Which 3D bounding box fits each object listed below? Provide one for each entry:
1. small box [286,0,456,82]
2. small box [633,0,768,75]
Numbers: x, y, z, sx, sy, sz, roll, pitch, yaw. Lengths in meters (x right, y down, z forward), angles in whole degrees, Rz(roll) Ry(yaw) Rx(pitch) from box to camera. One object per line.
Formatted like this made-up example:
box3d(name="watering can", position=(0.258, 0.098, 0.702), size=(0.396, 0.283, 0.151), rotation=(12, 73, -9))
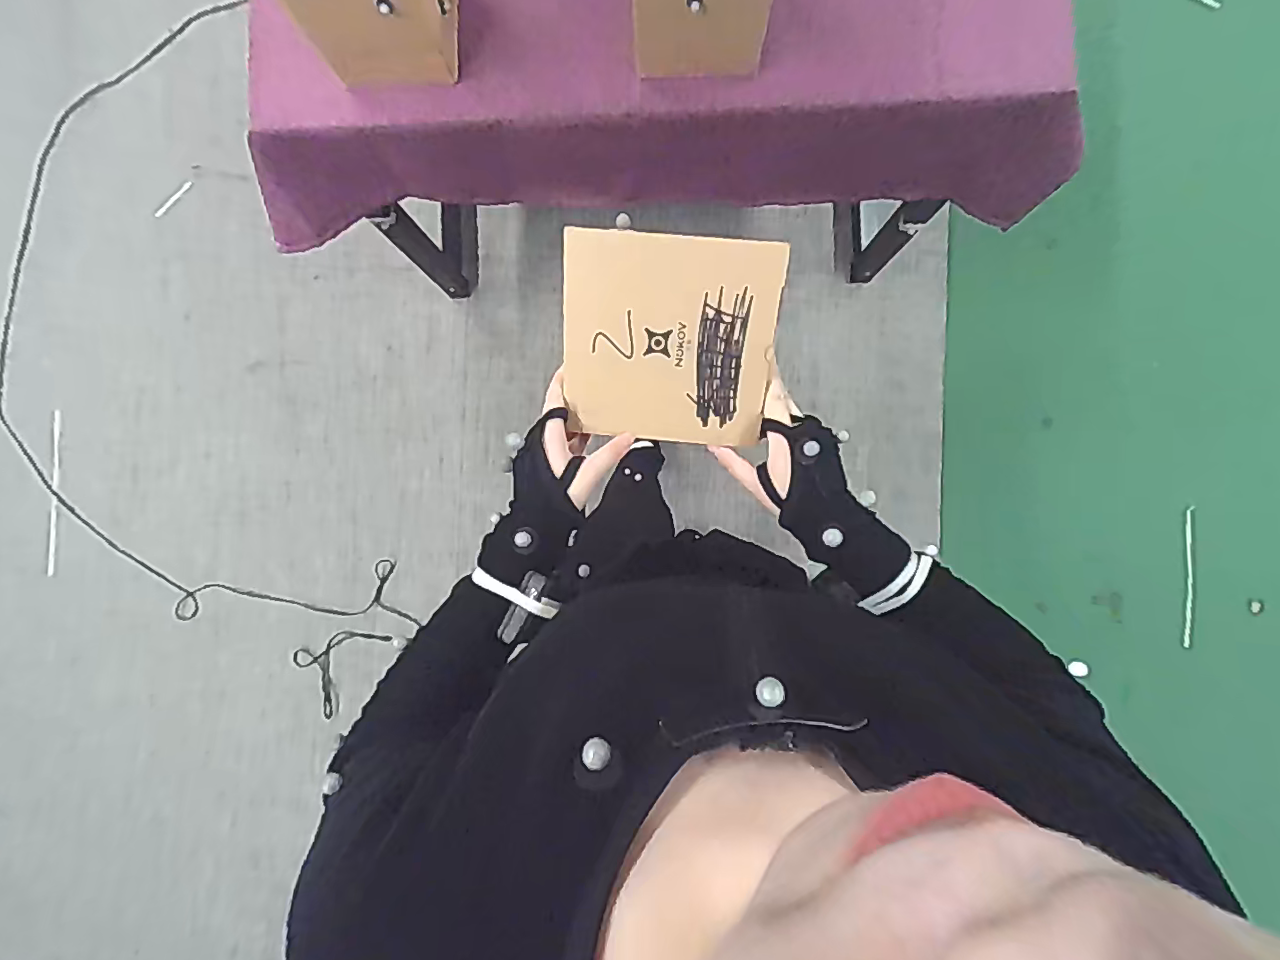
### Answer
box3d(name="small box", position=(-0.362, -0.668, 0.719), size=(0.179, 0.176, 0.168), rotation=(-1, 88, 0))
box3d(name="small box", position=(0.079, -0.669, 0.706), size=(0.179, 0.176, 0.168), rotation=(1, 89, 2))
